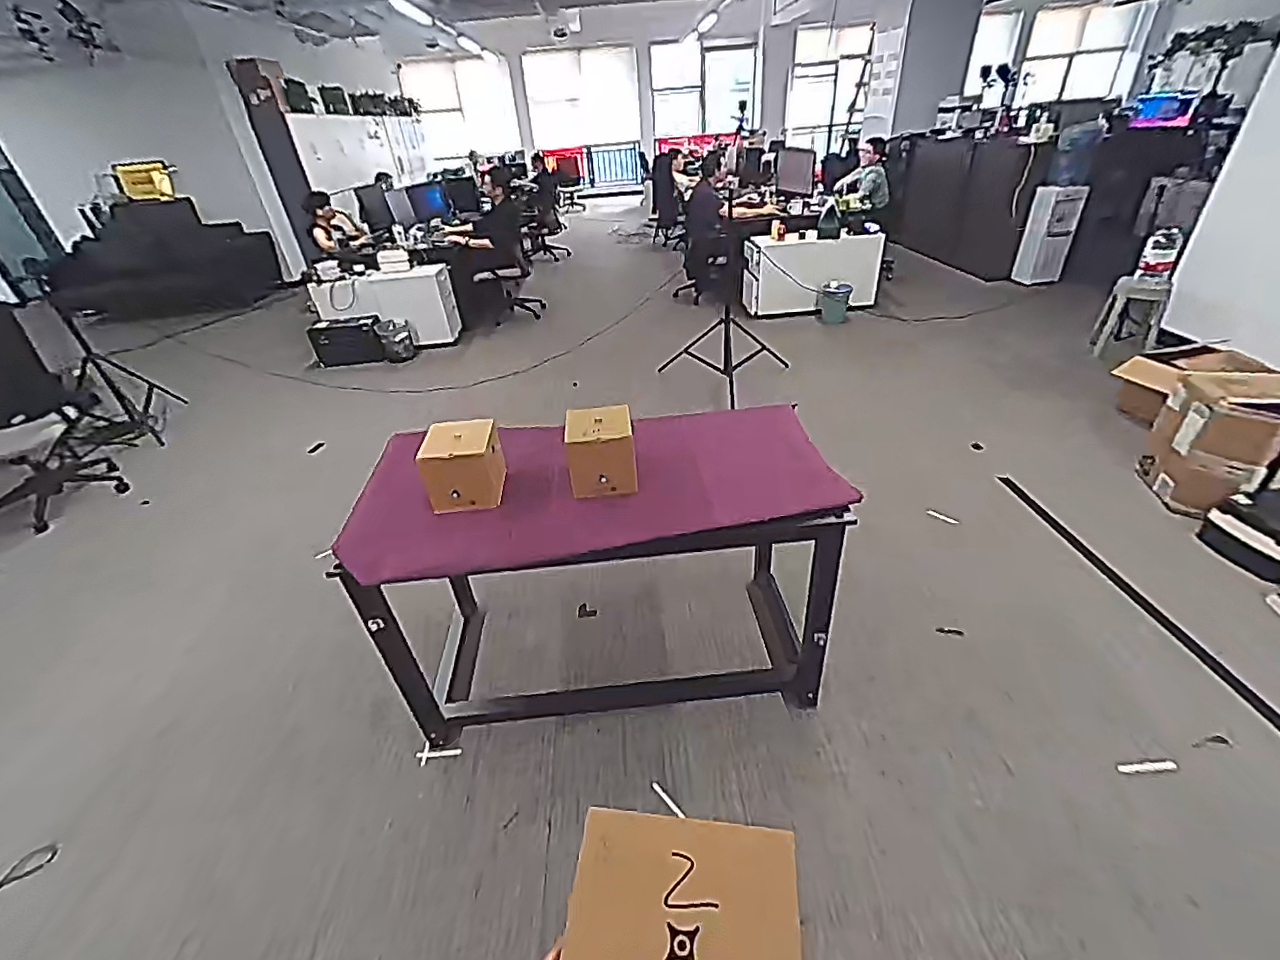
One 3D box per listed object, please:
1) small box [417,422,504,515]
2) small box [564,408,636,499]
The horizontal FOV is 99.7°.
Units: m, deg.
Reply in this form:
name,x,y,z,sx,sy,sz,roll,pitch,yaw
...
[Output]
name,x,y,z,sx,sy,sz,roll,pitch,yaw
small box,-0.452,-0.030,1.394,0.168,0.176,0.179,-6,35,-3
small box,-0.101,-0.070,1.404,0.168,0.176,0.179,-7,34,-1
